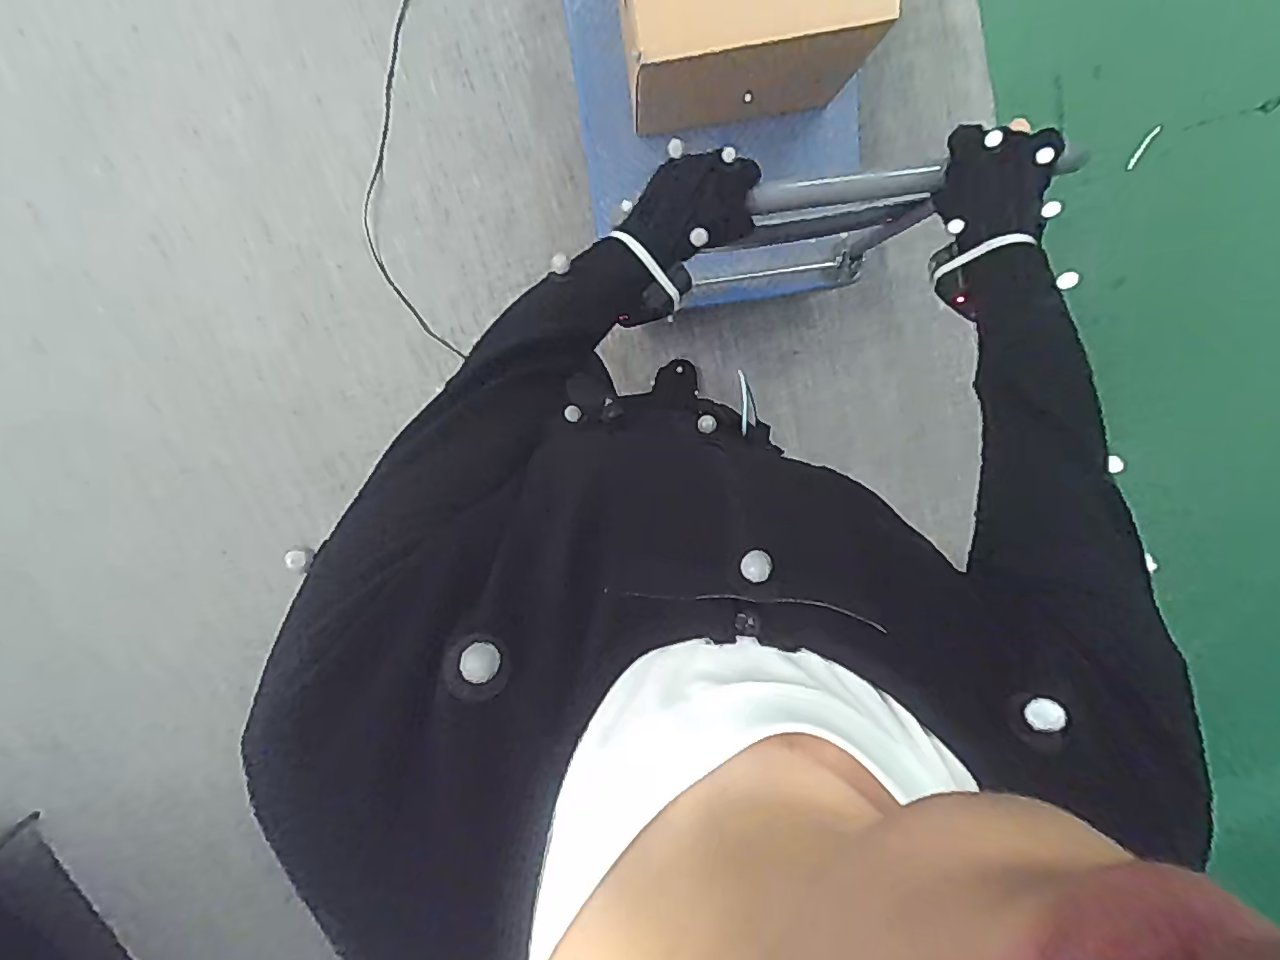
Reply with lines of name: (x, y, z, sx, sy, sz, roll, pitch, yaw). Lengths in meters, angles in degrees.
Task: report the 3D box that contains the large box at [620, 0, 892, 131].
large box: (0.170, -0.863, 0.945, 0.408, 0.320, 0.320, -9, 104, 2)
